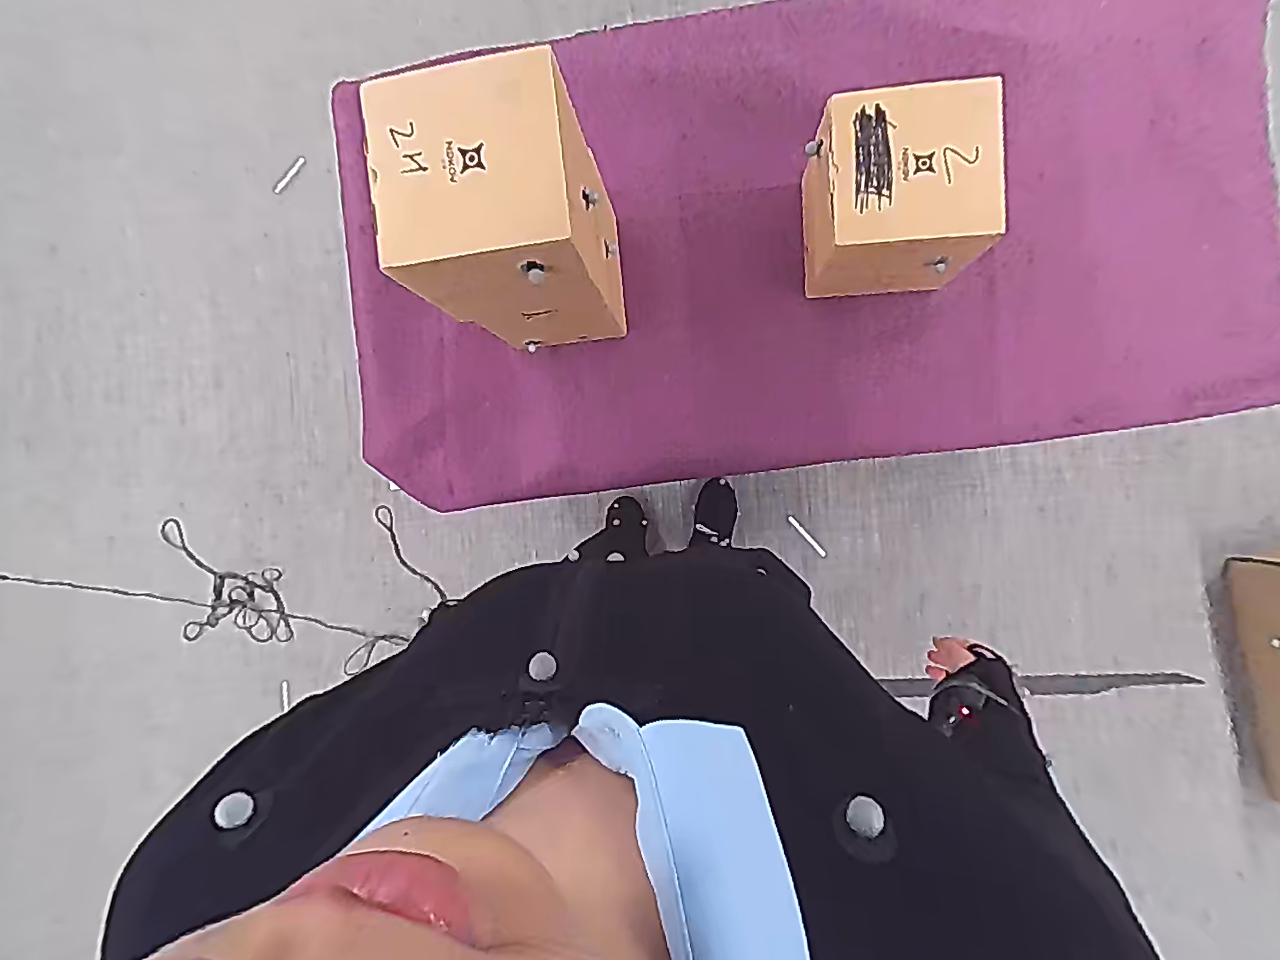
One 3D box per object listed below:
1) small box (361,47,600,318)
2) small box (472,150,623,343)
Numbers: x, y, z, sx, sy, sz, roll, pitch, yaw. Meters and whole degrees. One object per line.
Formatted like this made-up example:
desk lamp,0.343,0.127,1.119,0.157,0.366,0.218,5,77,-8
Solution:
small box,-0.140,-0.274,0.539,0.179,0.176,0.168,-6,90,7
small box,-0.119,-0.284,0.703,0.168,0.176,0.179,-5,89,7
